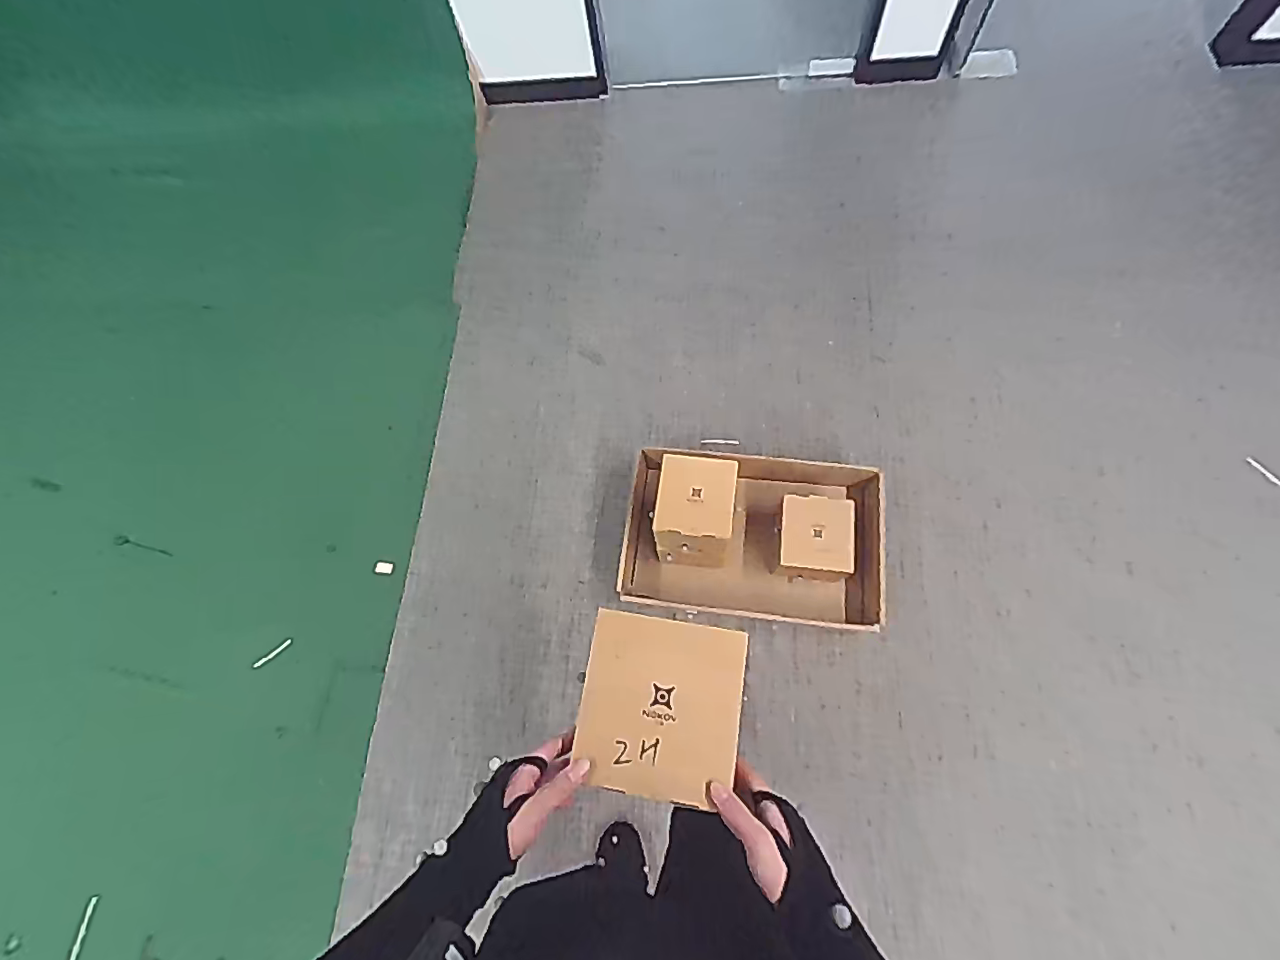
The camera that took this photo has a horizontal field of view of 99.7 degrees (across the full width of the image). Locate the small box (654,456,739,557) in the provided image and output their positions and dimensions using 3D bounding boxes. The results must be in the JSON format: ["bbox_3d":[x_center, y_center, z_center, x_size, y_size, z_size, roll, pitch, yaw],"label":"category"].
[{"bbox_3d":[0.127,0.063,1.222,0.168,0.176,0.179,6,71,8],"label":"small box"}]

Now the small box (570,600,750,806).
[{"bbox_3d":[0.027,0.249,0.634,0.168,0.176,0.179,8,72,7],"label":"small box"}]
